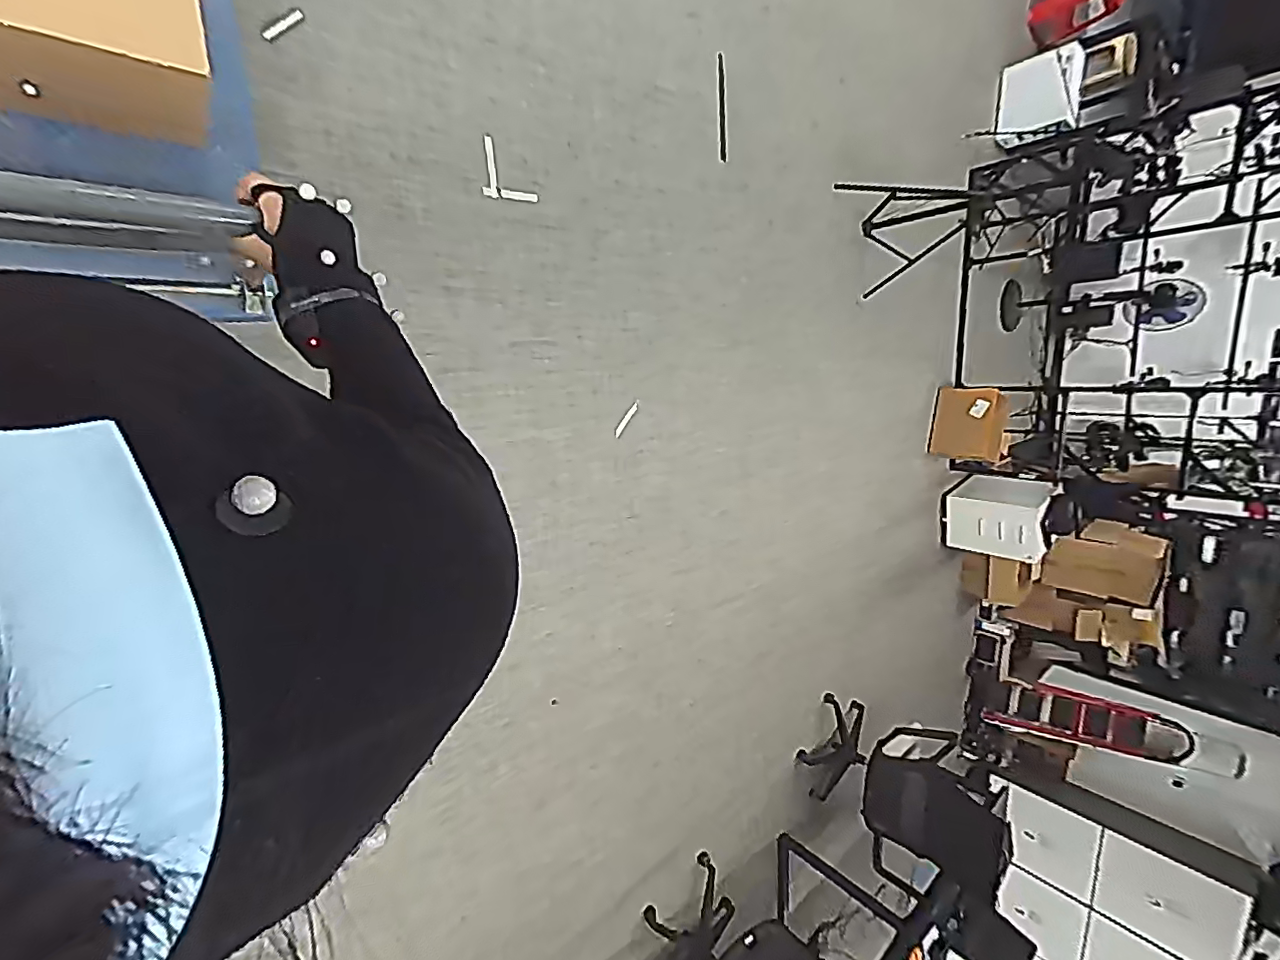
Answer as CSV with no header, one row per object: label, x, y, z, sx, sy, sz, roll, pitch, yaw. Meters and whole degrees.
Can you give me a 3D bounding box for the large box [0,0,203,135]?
large box,-0.880,-0.729,0.735,0.408,0.320,0.320,-11,104,-39
